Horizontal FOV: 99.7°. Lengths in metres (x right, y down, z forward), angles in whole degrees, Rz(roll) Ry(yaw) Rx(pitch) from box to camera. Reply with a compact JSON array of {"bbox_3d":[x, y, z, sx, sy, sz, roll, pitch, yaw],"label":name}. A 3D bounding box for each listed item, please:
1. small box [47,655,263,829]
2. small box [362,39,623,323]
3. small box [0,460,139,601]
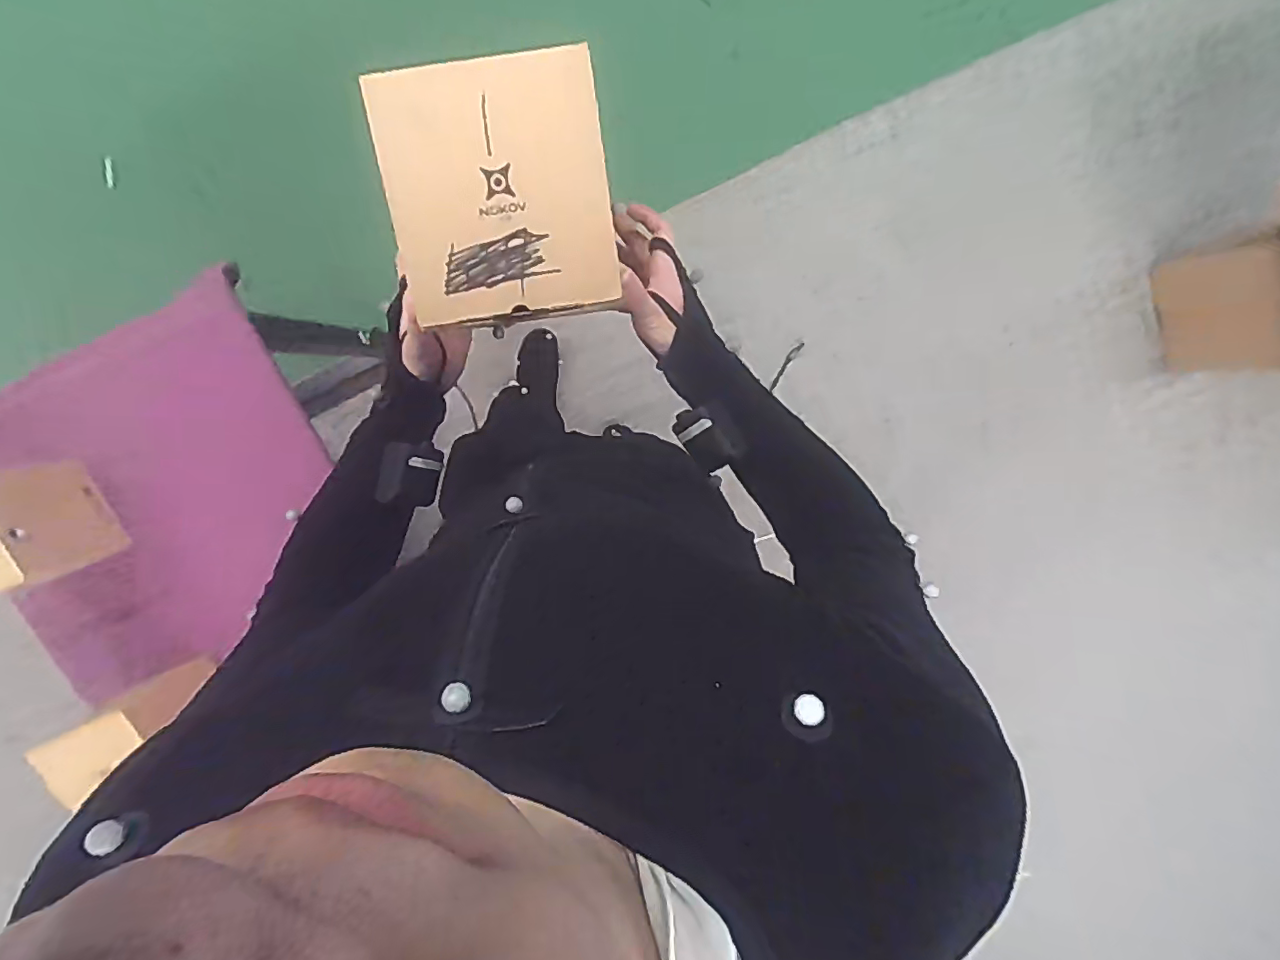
[{"bbox_3d":[-0.800,0.431,0.913,0.179,0.176,0.168,-25,101,5],"label":"small box"},{"bbox_3d":[-0.106,-0.238,0.477,0.168,0.176,0.179,-7,106,1],"label":"small box"},{"bbox_3d":[-0.963,0.084,0.845,0.179,0.176,0.168,-23,101,6],"label":"small box"}]
